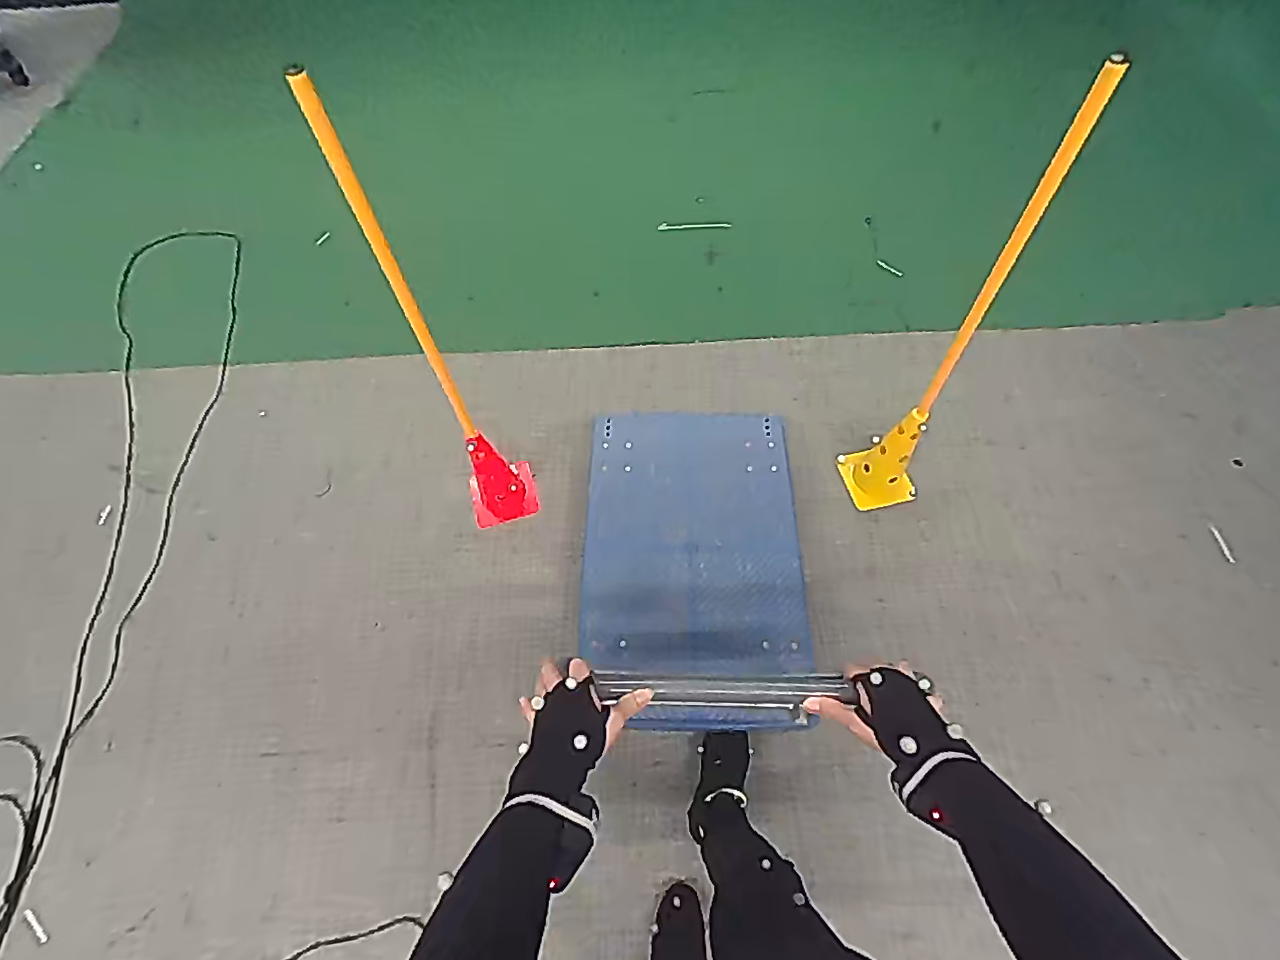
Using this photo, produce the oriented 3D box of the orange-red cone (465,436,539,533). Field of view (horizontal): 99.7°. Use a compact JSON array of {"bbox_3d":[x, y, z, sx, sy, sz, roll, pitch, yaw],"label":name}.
[{"bbox_3d":[-0.439,-0.017,1.581,0.199,0.360,0.198,-16,61,-5],"label":"orange-red cone"}]
